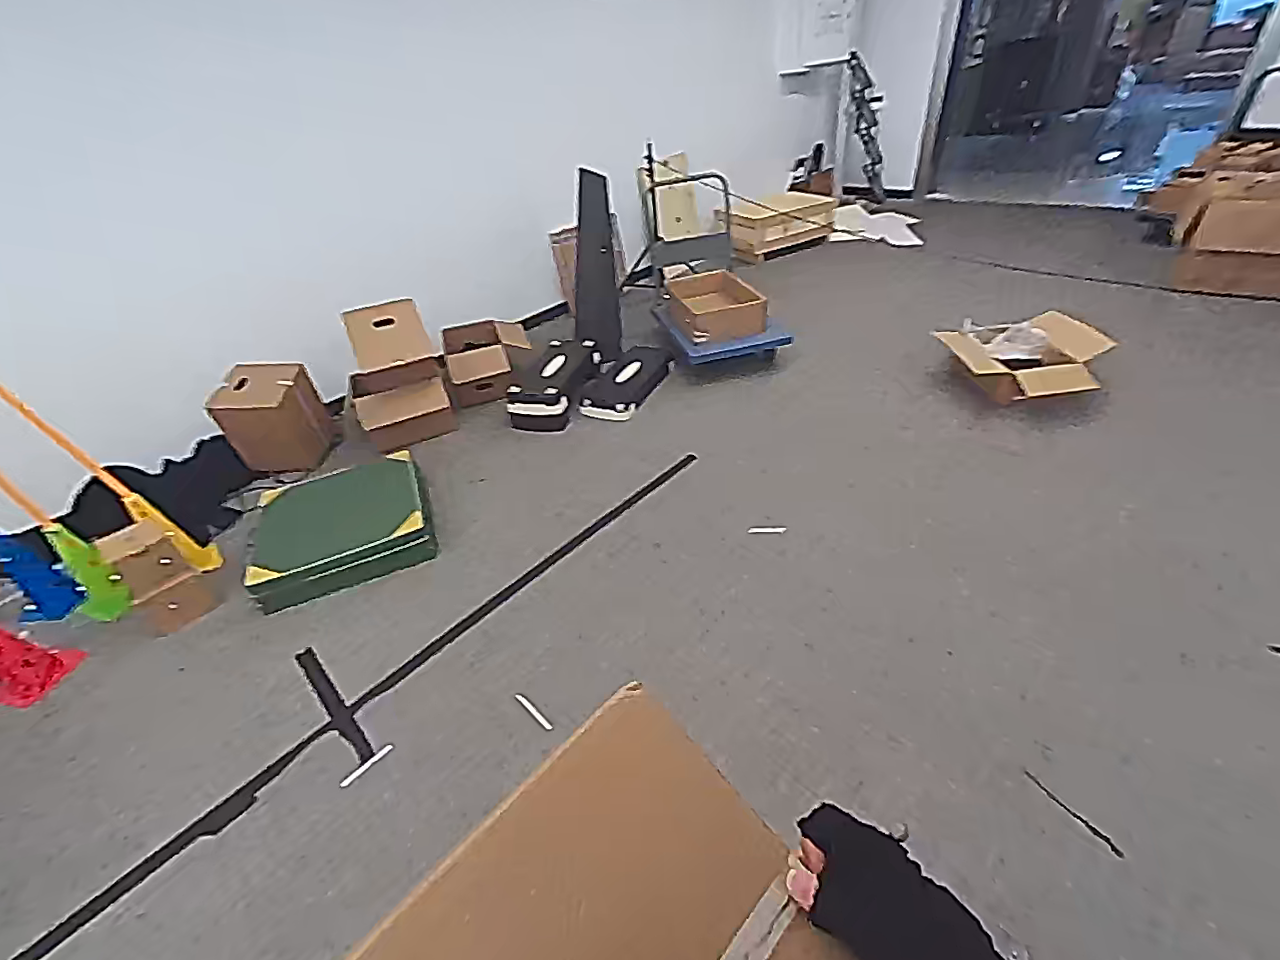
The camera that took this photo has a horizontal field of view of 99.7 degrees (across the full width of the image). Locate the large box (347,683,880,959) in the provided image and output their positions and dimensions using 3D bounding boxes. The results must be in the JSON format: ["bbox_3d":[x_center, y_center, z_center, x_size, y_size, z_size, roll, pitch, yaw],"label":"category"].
[{"bbox_3d":[-0.069,0.430,0.387,0.408,0.320,0.320,-37,75,-28],"label":"large box"}]
